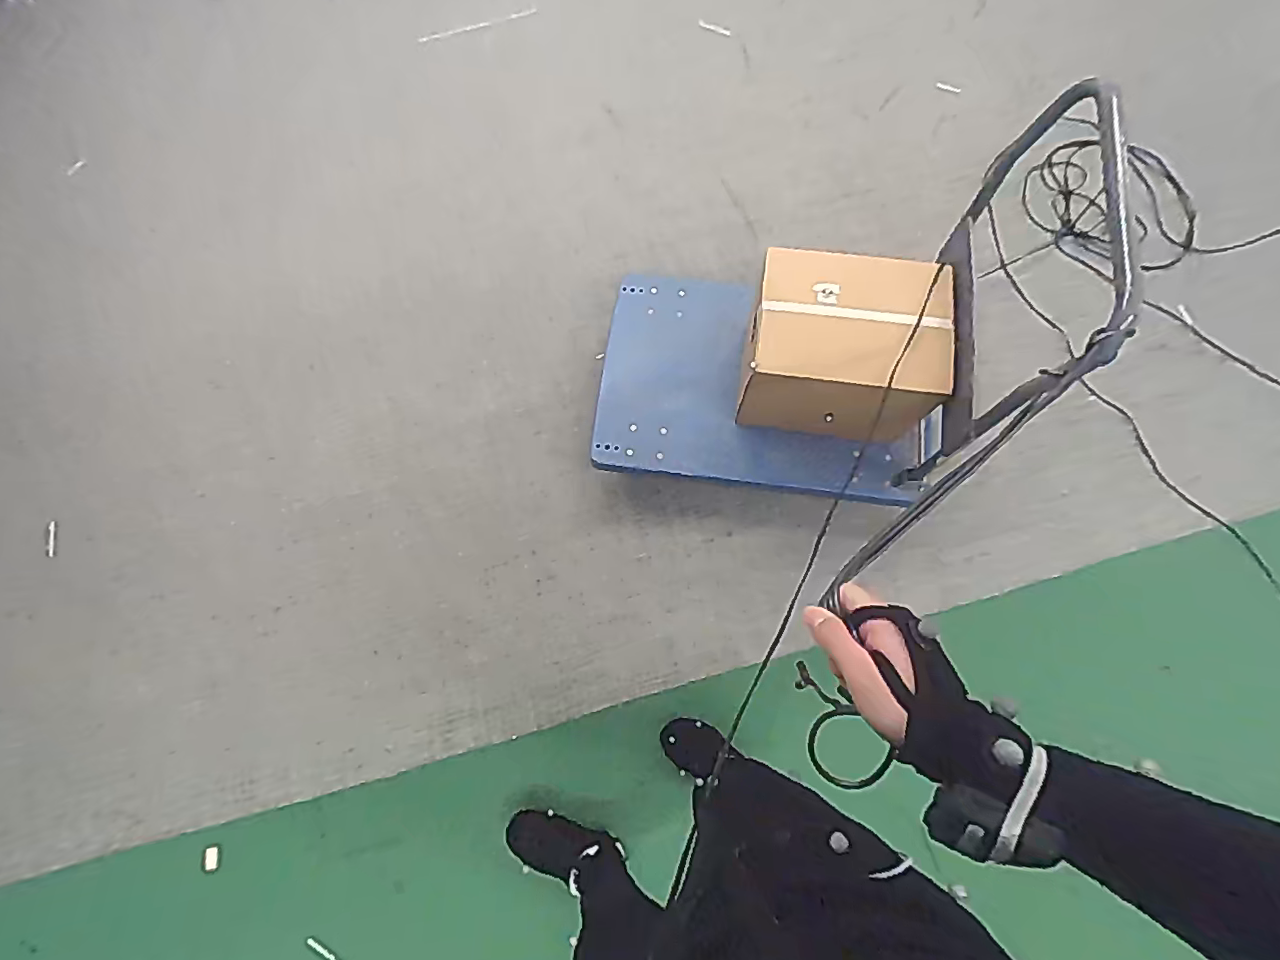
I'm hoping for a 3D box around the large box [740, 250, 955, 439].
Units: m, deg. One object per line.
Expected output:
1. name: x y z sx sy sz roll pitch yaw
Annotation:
1. large box: 0.467 -0.303 1.282 0.408 0.320 0.320 7 75 5
